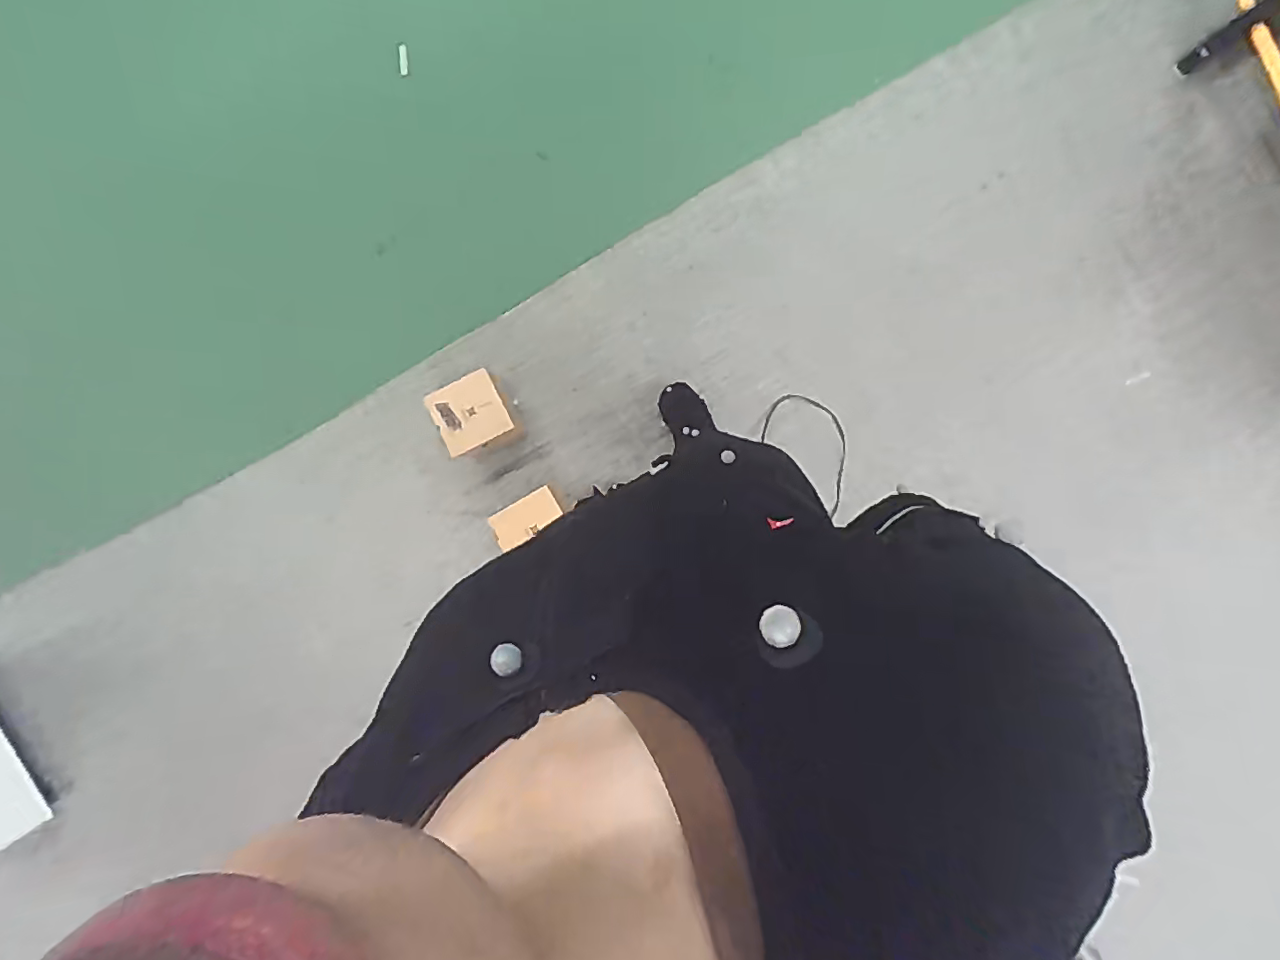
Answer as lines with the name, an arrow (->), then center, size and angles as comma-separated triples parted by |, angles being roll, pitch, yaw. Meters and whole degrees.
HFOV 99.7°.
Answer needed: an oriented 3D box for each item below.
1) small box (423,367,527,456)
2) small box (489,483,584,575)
small box -> -0.413, -0.168, 1.386 | 0.179, 0.176, 0.168 | -27, 92, 1
small box -> -0.256, 0.118, 1.399 | 0.179, 0.176, 0.168 | -31, 92, 3
